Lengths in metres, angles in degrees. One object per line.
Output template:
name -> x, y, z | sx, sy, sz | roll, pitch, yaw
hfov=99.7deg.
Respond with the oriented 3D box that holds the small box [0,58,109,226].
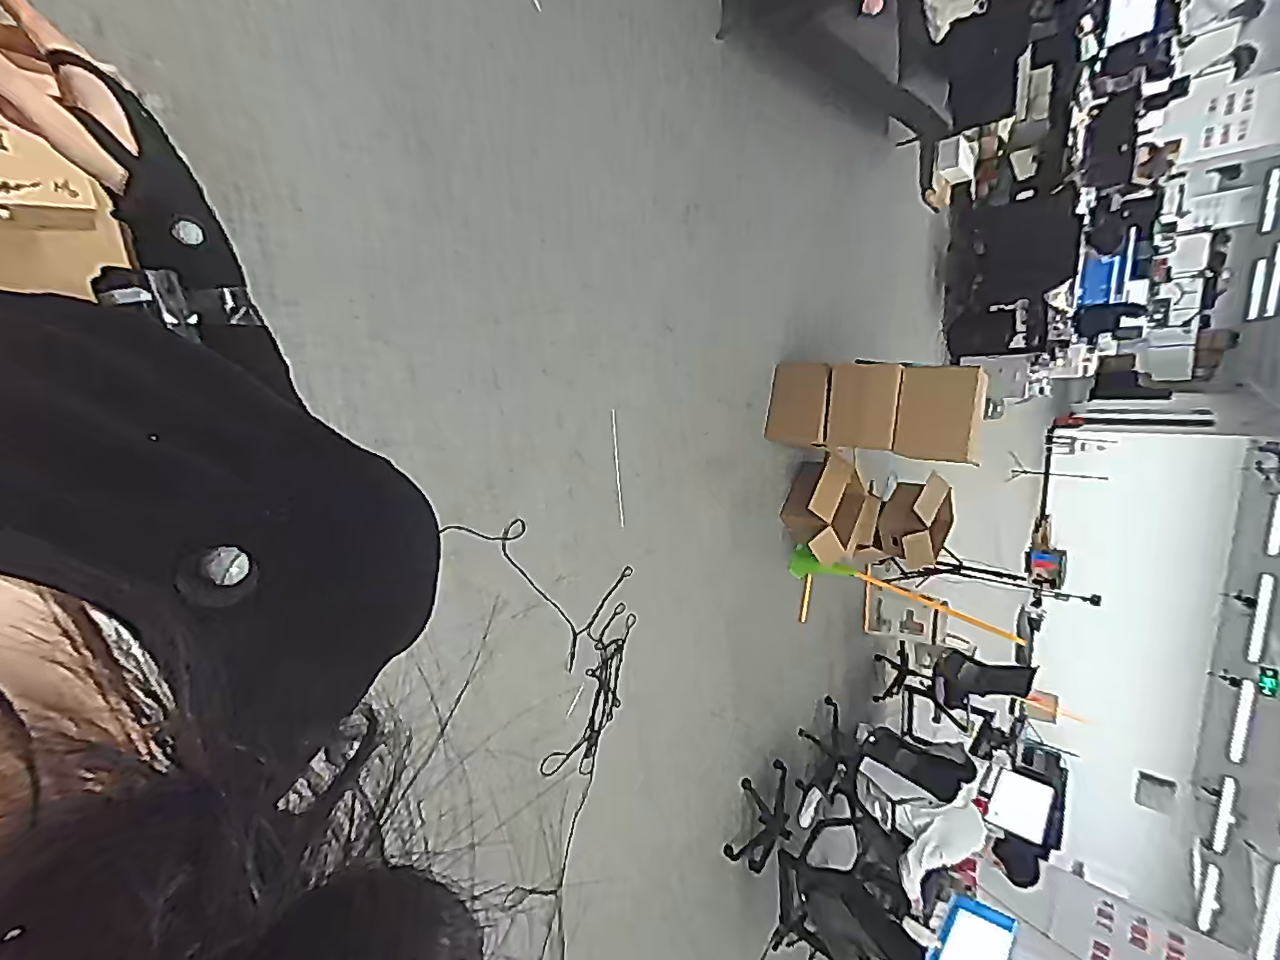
small box -> -0.920, -0.490, 0.792 | 0.168, 0.176, 0.179 | -19, 110, -41
